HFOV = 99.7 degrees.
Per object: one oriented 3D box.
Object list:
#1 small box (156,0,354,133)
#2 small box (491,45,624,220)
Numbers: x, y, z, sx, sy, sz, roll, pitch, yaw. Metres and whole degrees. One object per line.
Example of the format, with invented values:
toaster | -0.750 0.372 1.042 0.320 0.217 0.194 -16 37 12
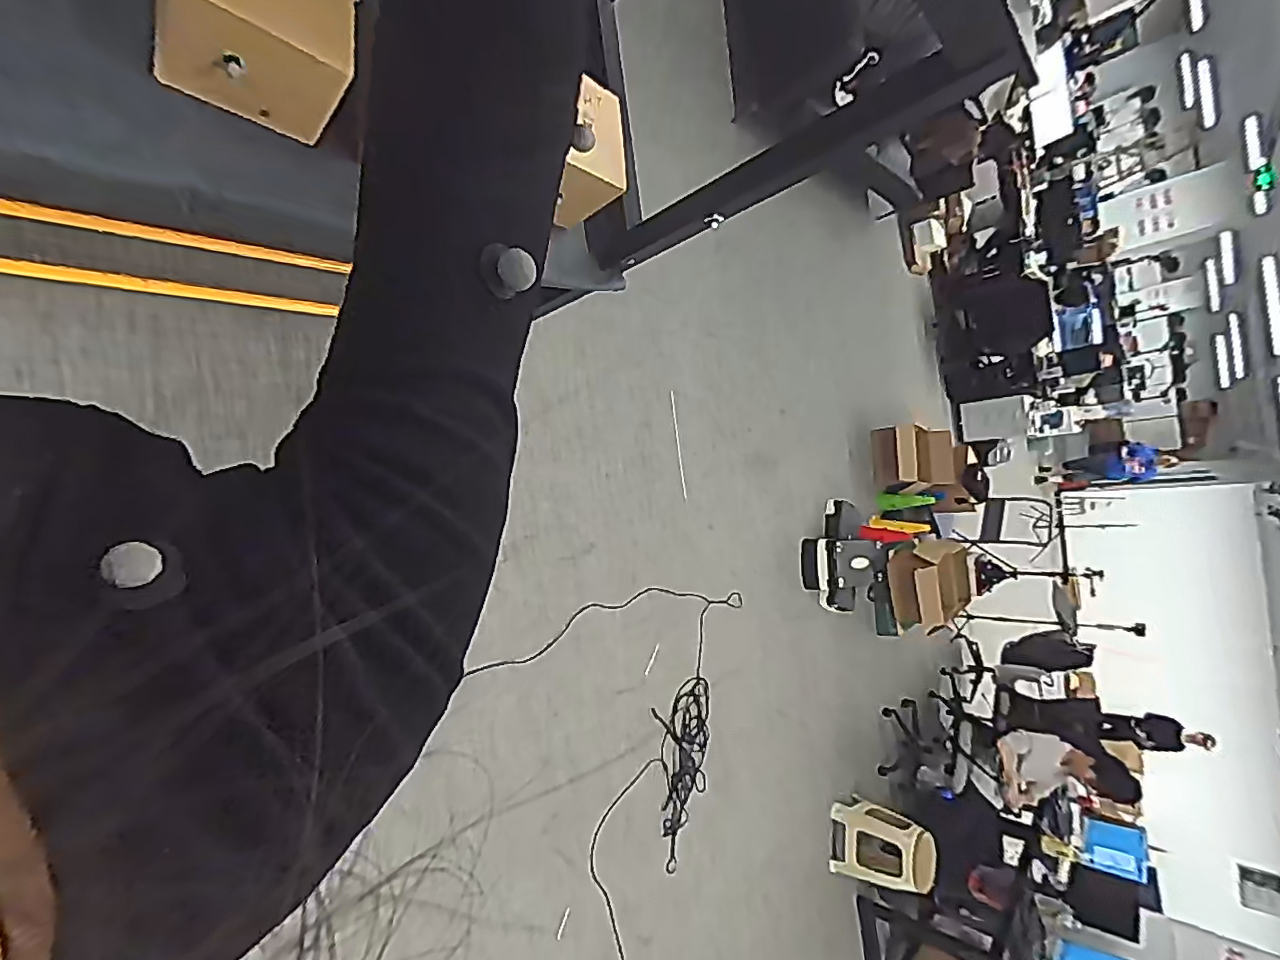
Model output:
small box | -0.454 -0.563 0.641 0.168 0.176 0.179 3 83 -46
small box | -0.148 -0.594 0.957 0.168 0.176 0.179 -2 86 -46
